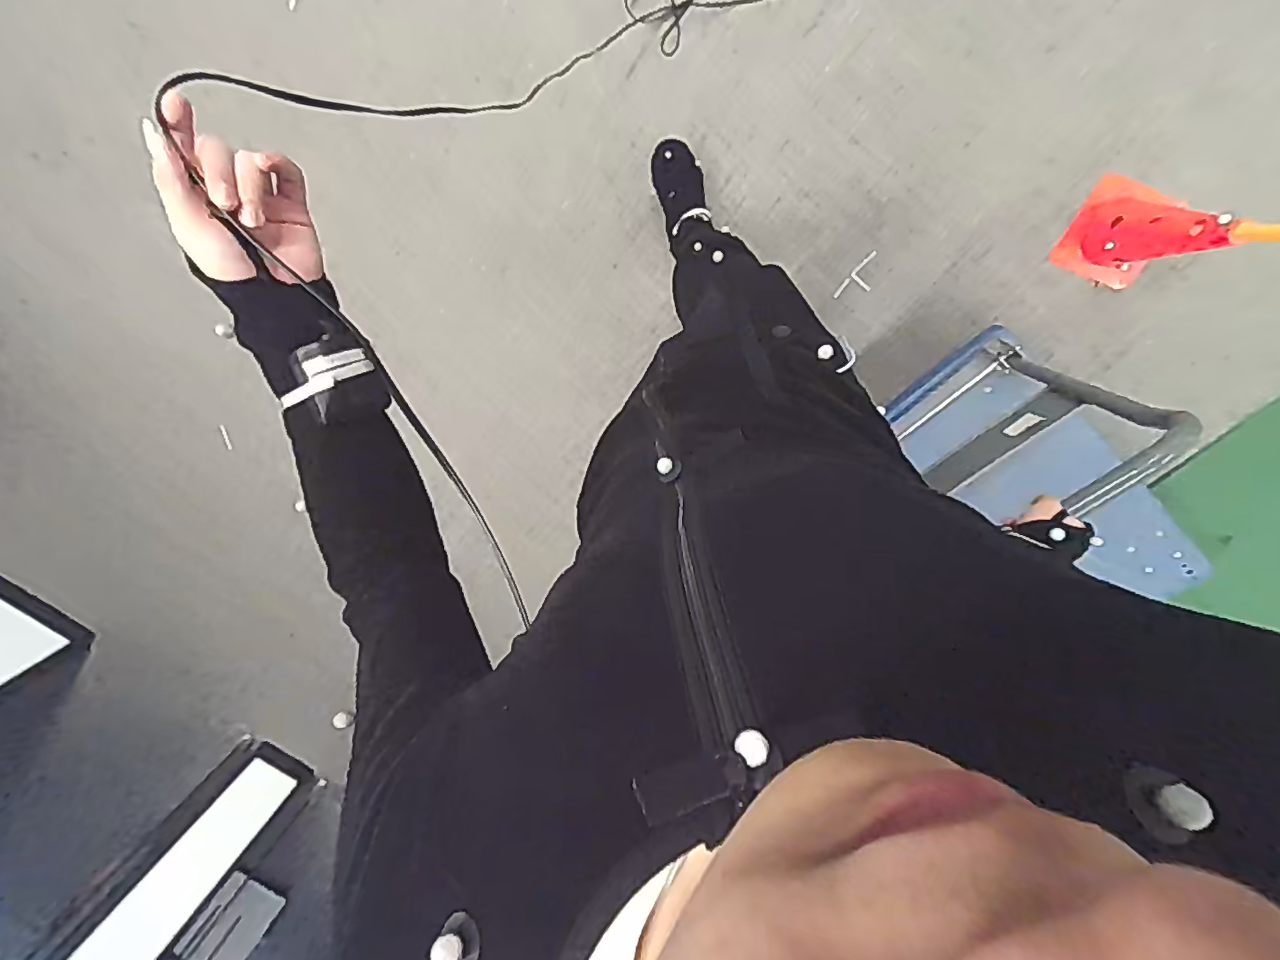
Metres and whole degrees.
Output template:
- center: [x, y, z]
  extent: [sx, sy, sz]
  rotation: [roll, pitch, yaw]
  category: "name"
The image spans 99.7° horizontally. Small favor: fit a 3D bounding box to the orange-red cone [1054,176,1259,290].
- center: [1.069, -0.497, 1.089]
  extent: [0.198, 0.360, 0.199]
  rotation: [24, 114, -2]
  category: "orange-red cone"
